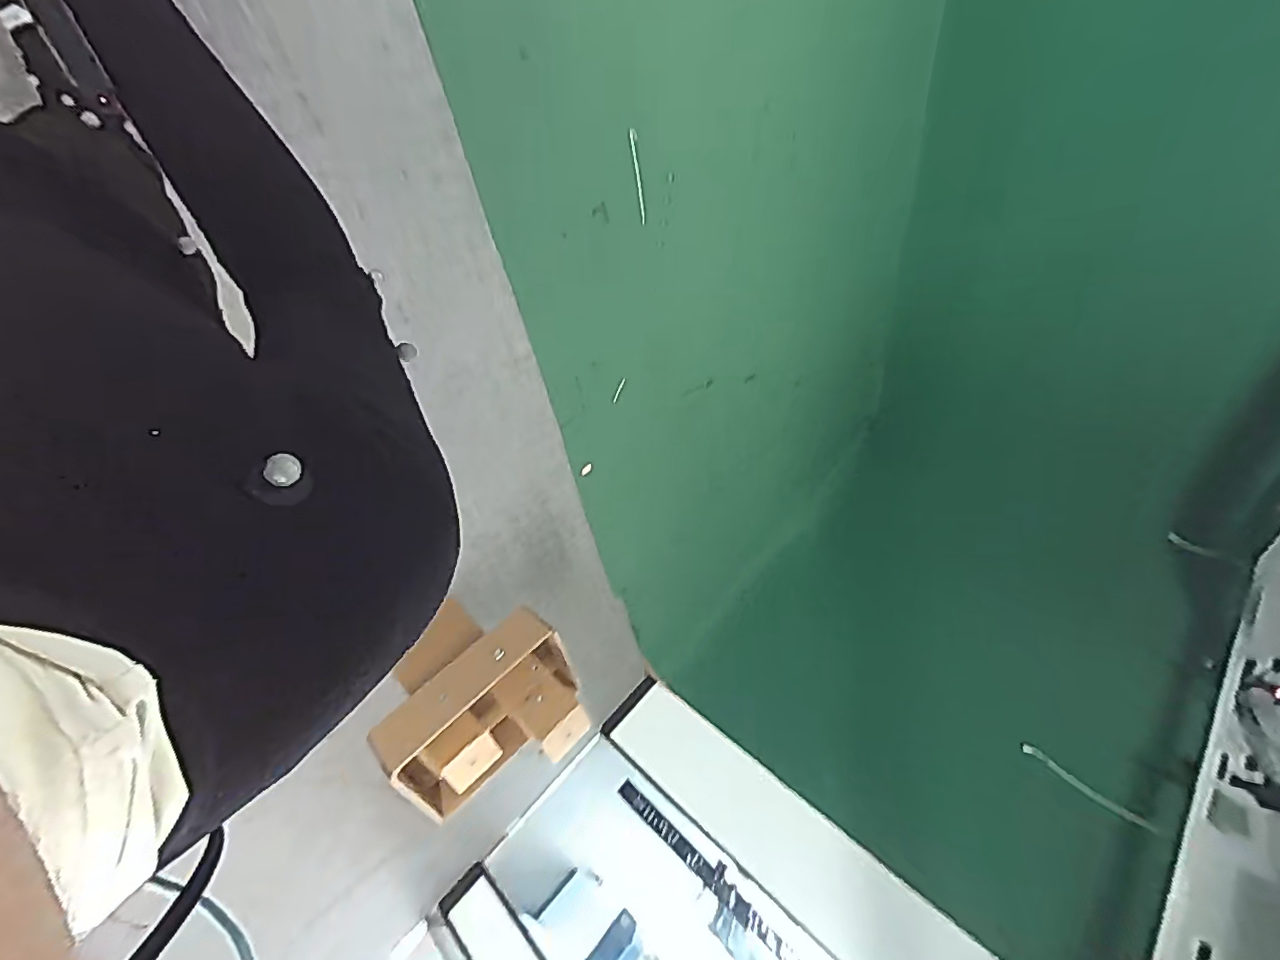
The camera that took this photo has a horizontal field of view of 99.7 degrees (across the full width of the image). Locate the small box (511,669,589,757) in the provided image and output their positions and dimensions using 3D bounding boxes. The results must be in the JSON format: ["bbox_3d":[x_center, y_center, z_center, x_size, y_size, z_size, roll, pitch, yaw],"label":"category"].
[{"bbox_3d":[-0.295,0.761,1.779,0.168,0.176,0.179,-39,139,-28],"label":"small box"}]
